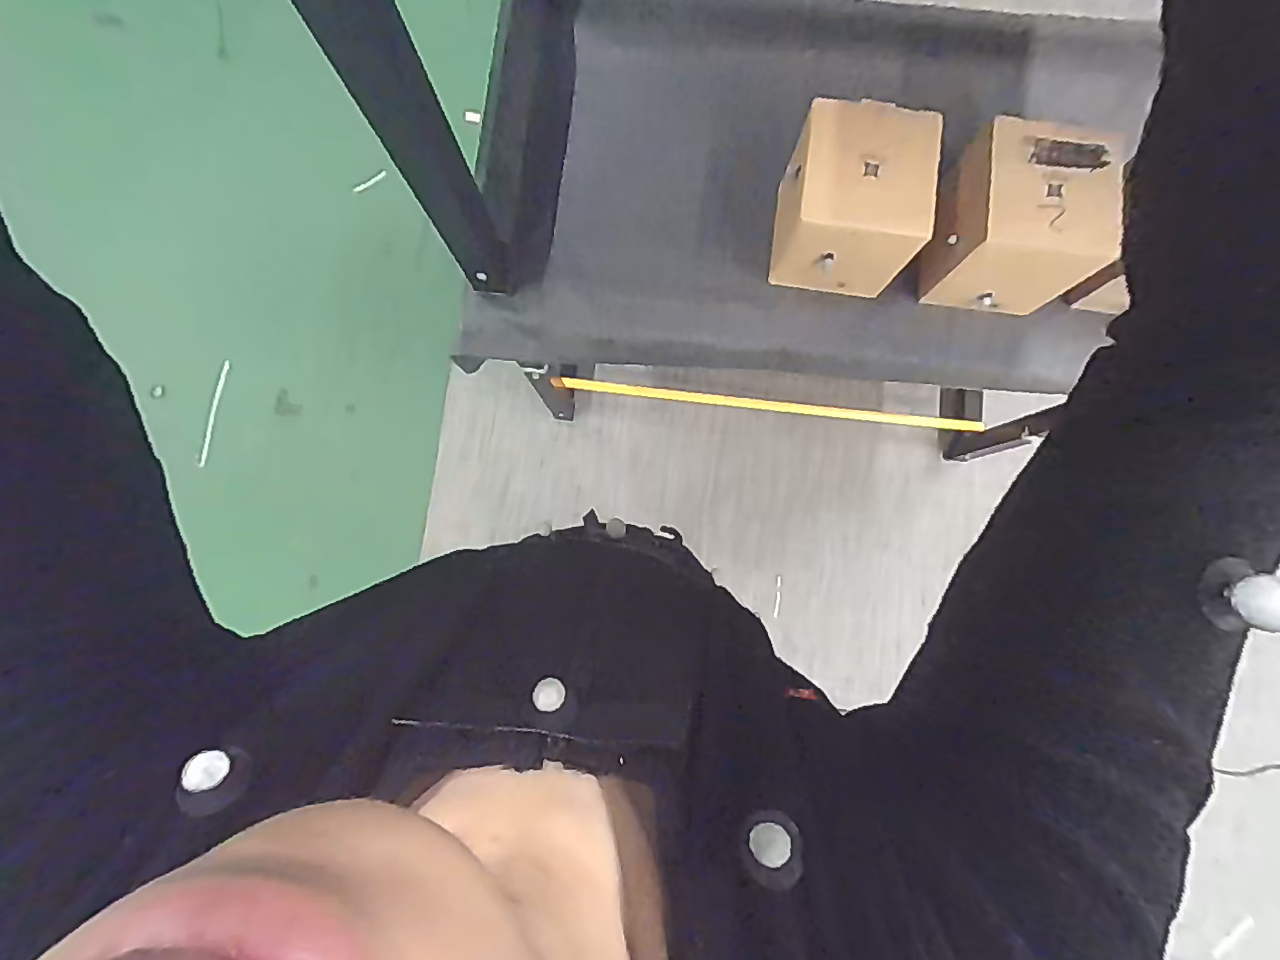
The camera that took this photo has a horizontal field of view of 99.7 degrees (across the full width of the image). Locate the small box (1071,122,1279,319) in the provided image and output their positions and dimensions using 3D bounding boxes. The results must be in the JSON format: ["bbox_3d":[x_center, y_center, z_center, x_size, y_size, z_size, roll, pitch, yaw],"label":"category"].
[{"bbox_3d":[0.740,-0.343,0.746,0.168,0.176,0.179,10,82,1],"label":"small box"}]

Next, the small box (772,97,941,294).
[{"bbox_3d":[0.289,-0.383,0.756,0.168,0.176,0.179,8,82,1],"label":"small box"}]
